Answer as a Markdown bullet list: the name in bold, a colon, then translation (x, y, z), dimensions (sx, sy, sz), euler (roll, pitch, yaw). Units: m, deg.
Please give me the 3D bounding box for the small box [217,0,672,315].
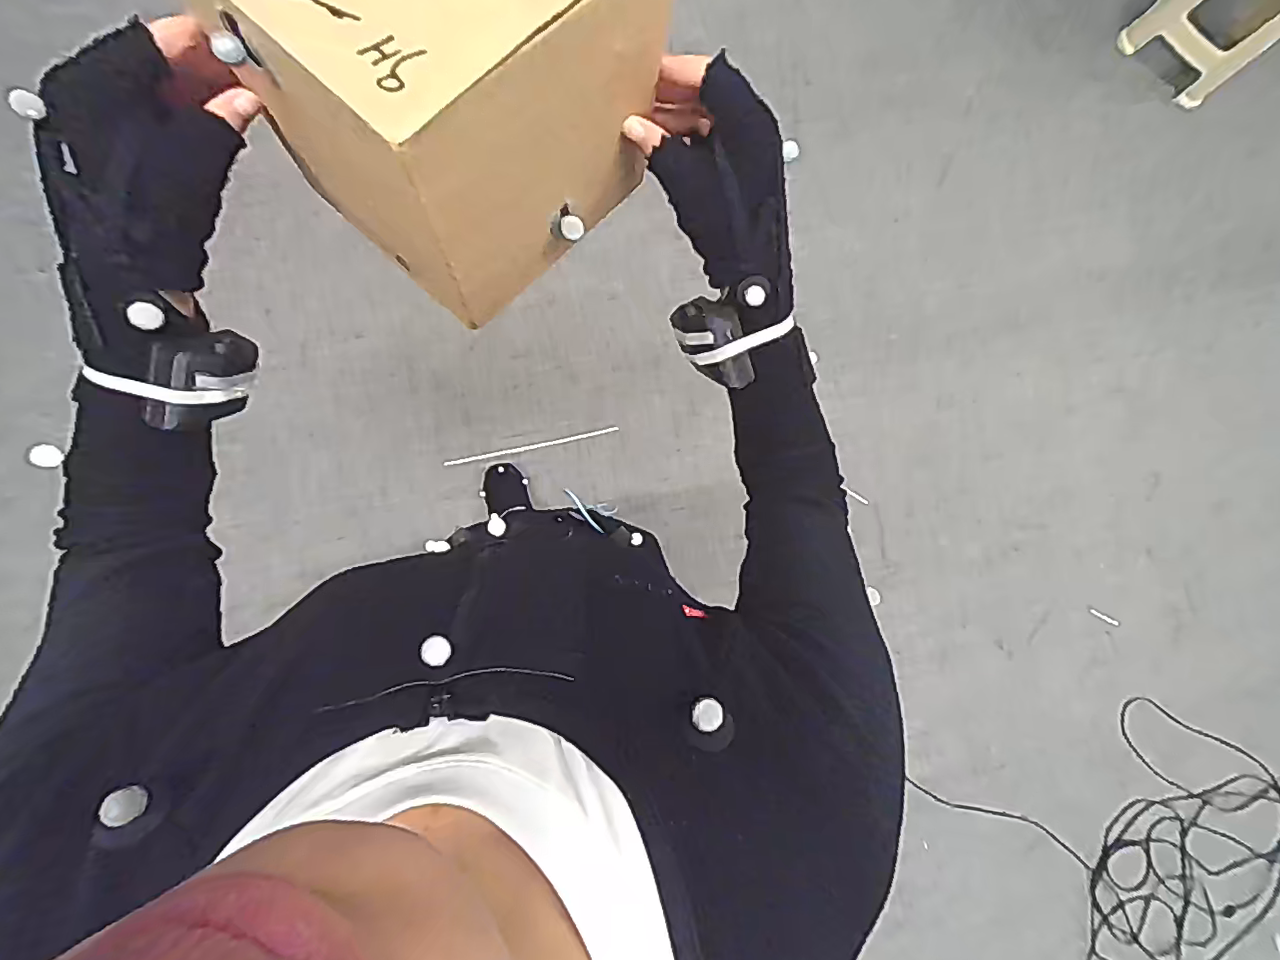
- **small box**: translation (-0.105, -0.238, 0.318), dimensions (0.168, 0.176, 0.179), euler (42, 78, 3)
